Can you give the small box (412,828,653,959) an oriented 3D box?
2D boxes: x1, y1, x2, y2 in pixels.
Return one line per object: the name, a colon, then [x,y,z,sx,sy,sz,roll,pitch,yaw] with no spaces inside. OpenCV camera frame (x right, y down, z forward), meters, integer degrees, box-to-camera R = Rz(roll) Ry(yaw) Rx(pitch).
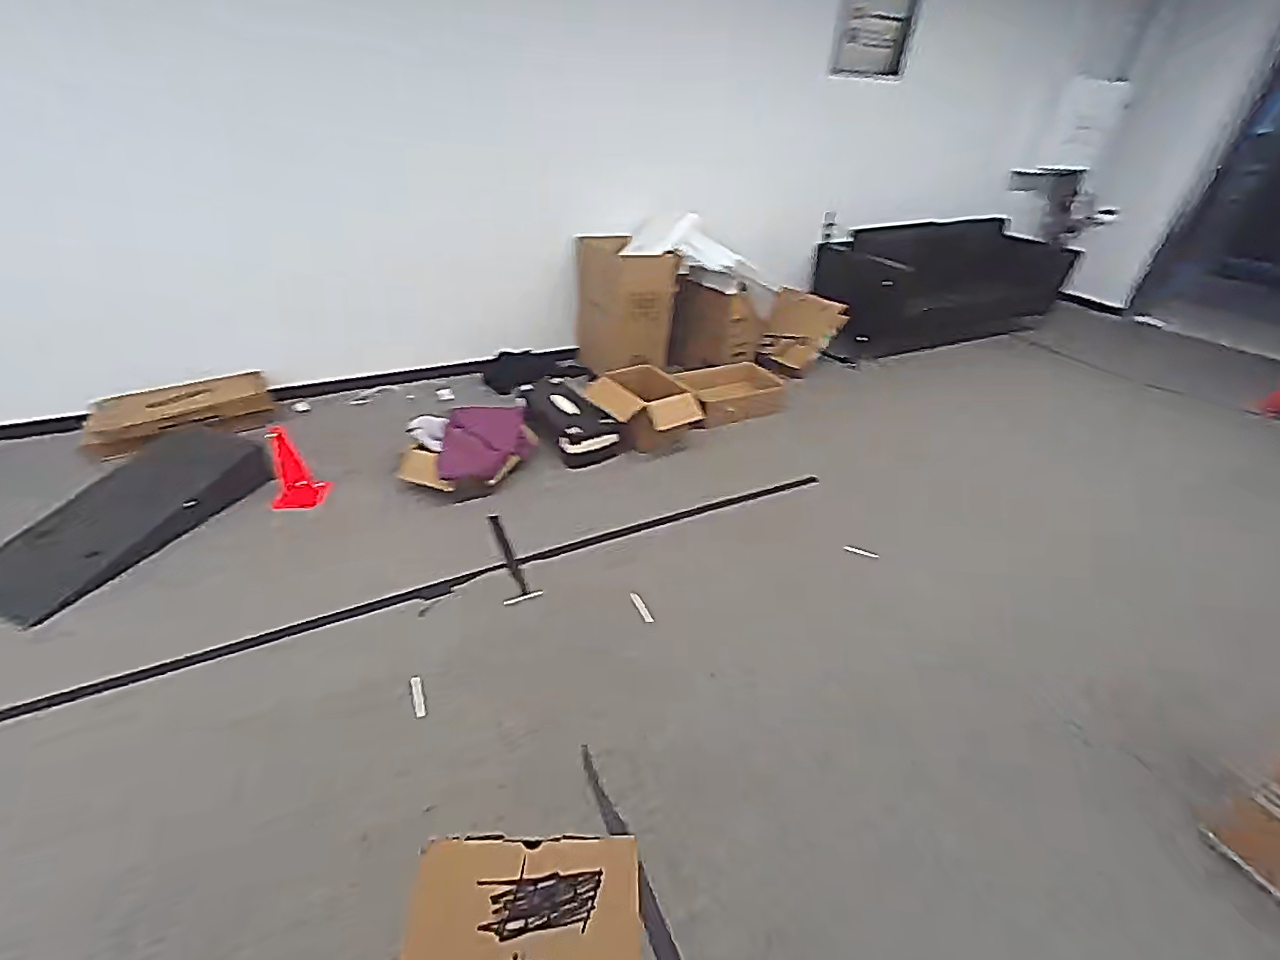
small box: [-0.081,0.390,0.413,0.168,0.176,0.179,3,44,-5]
